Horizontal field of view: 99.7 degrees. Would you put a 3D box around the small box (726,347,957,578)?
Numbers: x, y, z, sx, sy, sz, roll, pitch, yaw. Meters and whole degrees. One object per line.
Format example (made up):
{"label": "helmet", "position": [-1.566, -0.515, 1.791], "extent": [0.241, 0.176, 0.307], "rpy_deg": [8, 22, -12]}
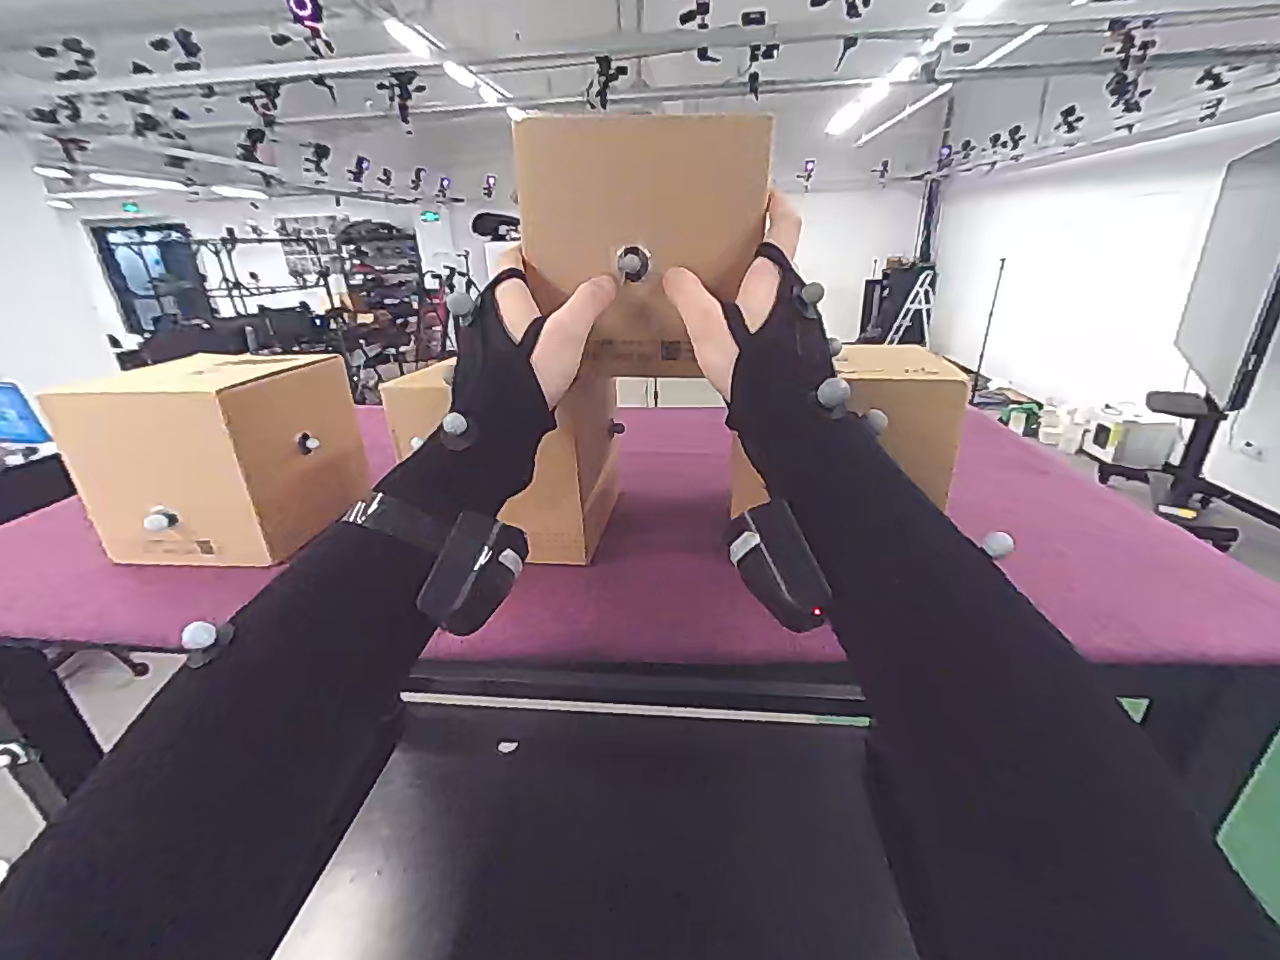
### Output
{"label": "small box", "position": [0.171, -0.029, 0.505], "extent": [0.168, 0.176, 0.179], "rpy_deg": [2, 21, 15]}

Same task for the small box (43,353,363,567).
{"label": "small box", "position": [-0.411, -0.030, 0.551], "extent": [0.168, 0.176, 0.179], "rpy_deg": [1, 24, 5]}

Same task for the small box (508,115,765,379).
{"label": "small box", "position": [0.004, -0.184, 0.443], "extent": [0.168, 0.176, 0.179], "rpy_deg": [2, 26, 4]}

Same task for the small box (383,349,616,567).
{"label": "small box", "position": [-0.120, -0.032, 0.541], "extent": [0.168, 0.176, 0.179], "rpy_deg": [1, 24, 9]}
